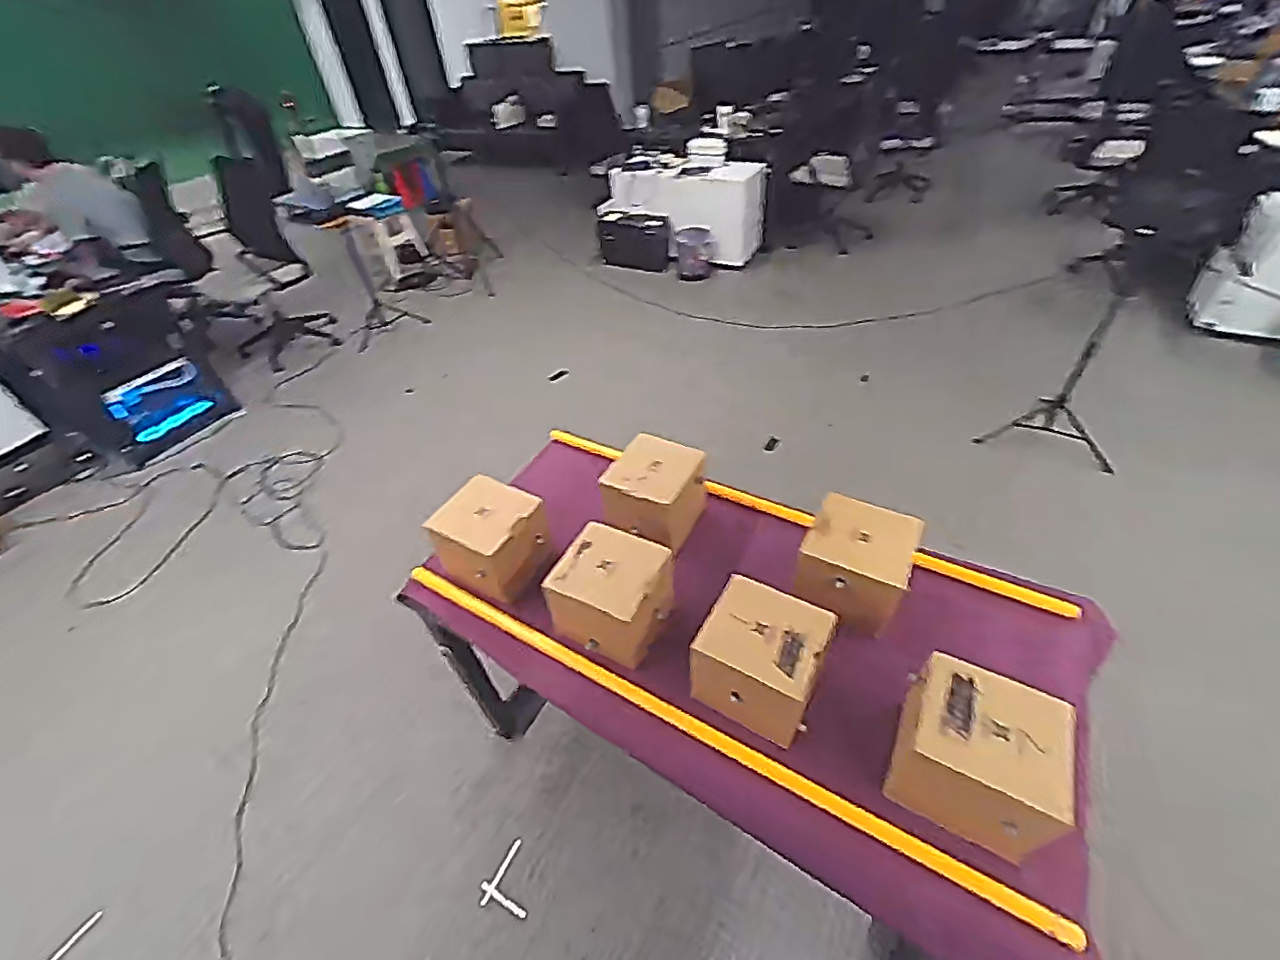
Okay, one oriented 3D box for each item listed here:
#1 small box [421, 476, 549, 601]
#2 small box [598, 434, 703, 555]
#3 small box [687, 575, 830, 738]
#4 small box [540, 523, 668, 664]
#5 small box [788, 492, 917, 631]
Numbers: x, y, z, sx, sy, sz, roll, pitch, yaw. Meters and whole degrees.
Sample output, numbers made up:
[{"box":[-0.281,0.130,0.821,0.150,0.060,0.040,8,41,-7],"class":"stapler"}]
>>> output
[{"box":[-0.312,0.126,1.129,0.179,0.176,0.168,20,49,22],"class":"small box"},{"box":[0.028,0.032,1.191,0.168,0.176,0.179,19,51,24],"class":"small box"},{"box":[0.193,0.296,0.896,0.179,0.176,0.168,20,48,26],"class":"small box"},{"box":[-0.057,0.215,1.010,0.179,0.176,0.168,18,48,22],"class":"small box"},{"box":[0.394,0.157,1.020,0.179,0.176,0.168,18,50,25],"class":"small box"}]
